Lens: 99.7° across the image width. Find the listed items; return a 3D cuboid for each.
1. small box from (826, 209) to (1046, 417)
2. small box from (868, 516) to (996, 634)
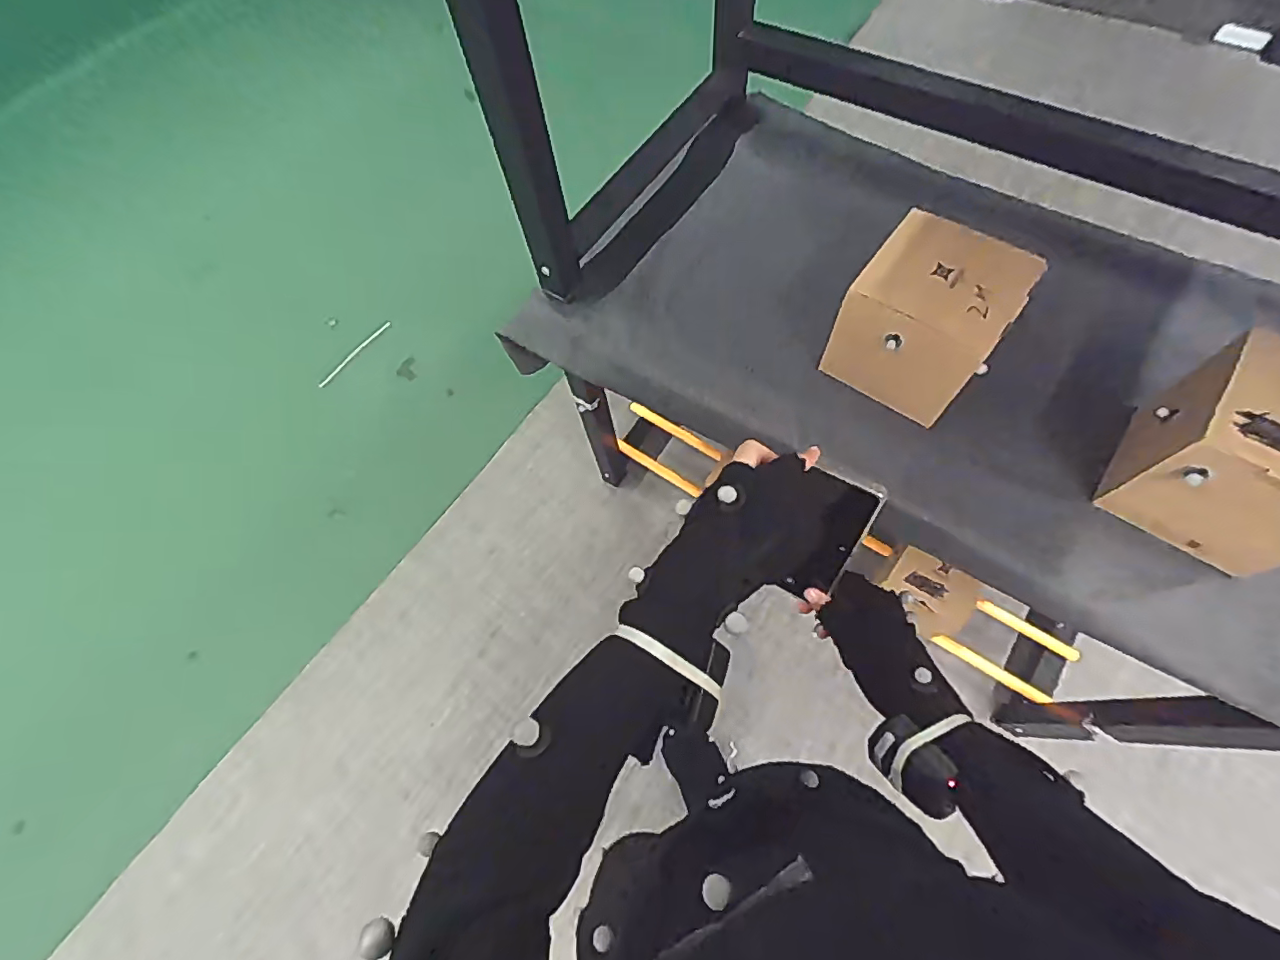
[{"bbox_3d":[0.375,-0.214,0.721,0.179,0.176,0.168,34,73,18],"label":"small box"},{"bbox_3d":[0.629,0.217,1.193,0.168,0.176,0.179,35,74,18],"label":"small box"}]
